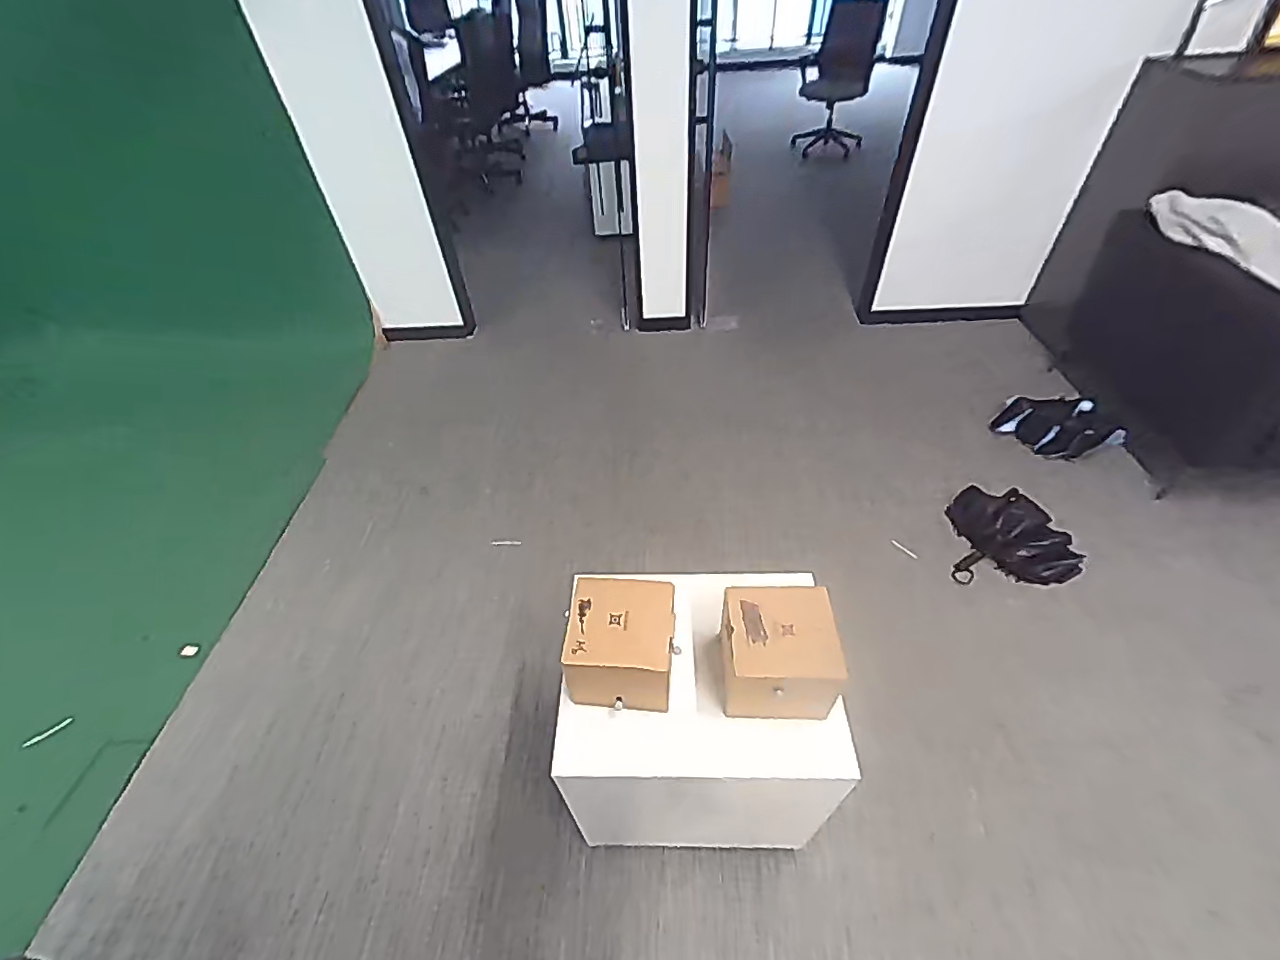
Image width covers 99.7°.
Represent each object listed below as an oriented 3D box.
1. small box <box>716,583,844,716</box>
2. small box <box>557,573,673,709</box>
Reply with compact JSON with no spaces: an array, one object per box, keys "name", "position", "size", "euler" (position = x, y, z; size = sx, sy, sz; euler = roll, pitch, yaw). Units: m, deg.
[{"name":"small box","position":[0.226,0.295,0.933],"size":[0.179,0.176,0.168],"euler":[1,46,0]},{"name":"small box","position":[-0.039,0.284,0.944],"size":[0.179,0.176,0.168],"euler":[4,45,2]}]
